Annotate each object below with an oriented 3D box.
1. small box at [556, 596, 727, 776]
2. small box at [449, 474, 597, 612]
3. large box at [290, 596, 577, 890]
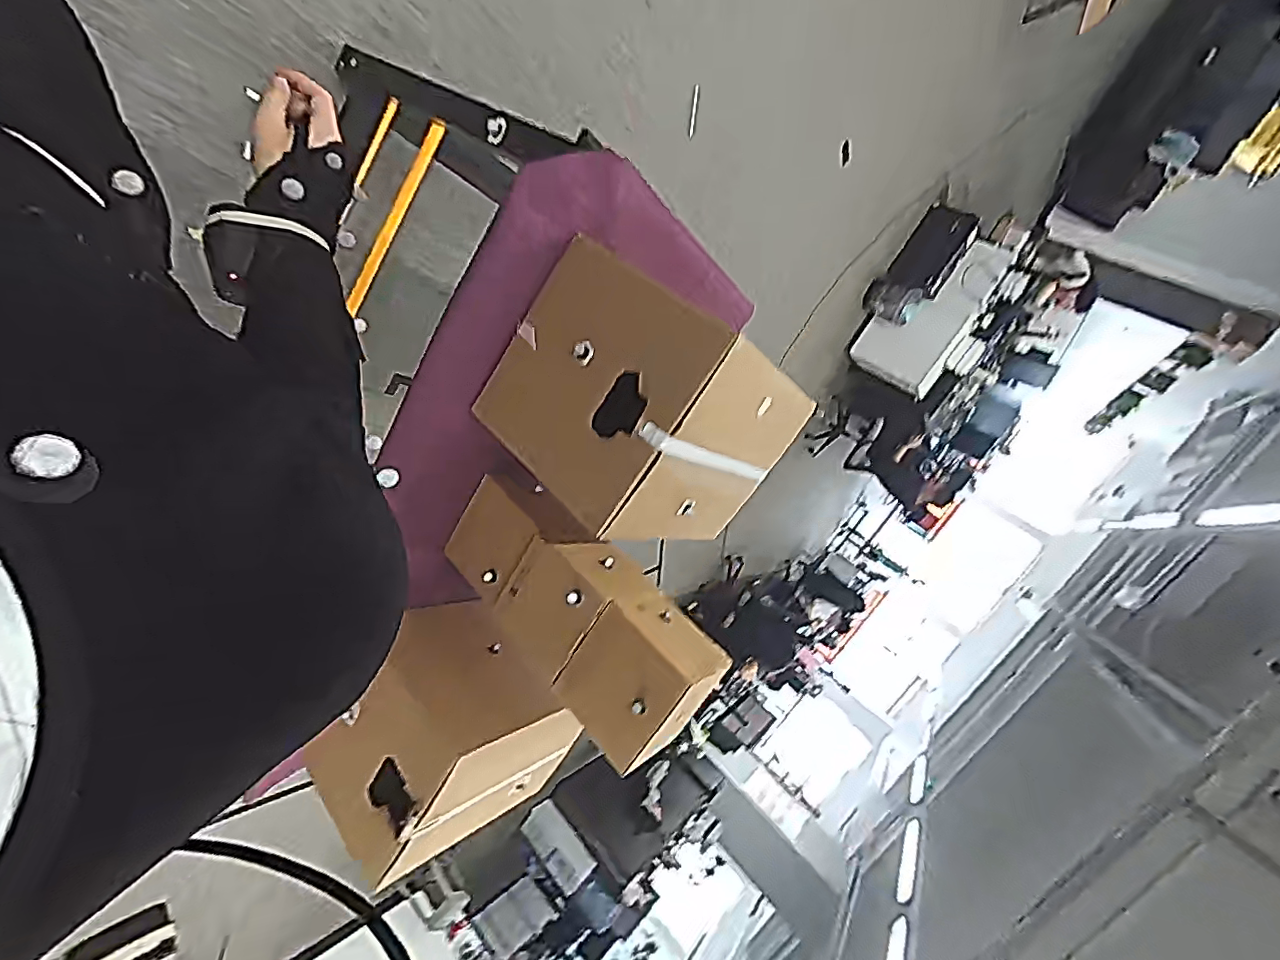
[{"bbox_3d":[-0.003,0.303,0.834,0.179,0.176,0.168,-56,153,11],"label":"small box"},{"bbox_3d":[-0.219,0.113,0.987,0.179,0.176,0.168,-56,153,14],"label":"small box"},{"bbox_3d":[-0.363,0.450,1.049,0.320,0.320,0.408,-56,154,13],"label":"large box"}]
